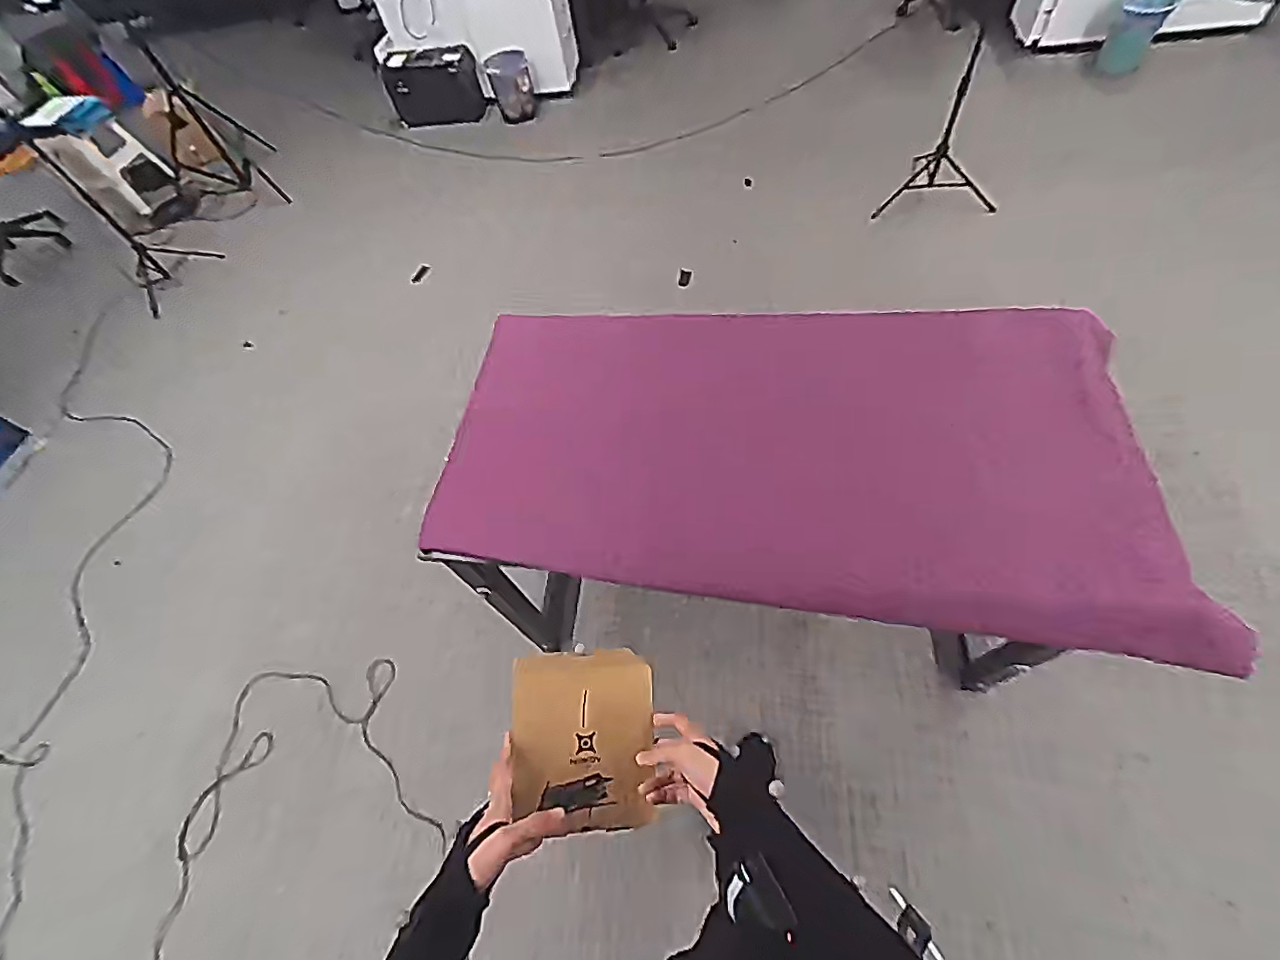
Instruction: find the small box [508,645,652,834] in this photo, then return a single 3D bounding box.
[{"bbox_3d":[-0.082,0.318,0.700,0.168,0.176,0.179,-1,80,-11],"label":"small box"}]
